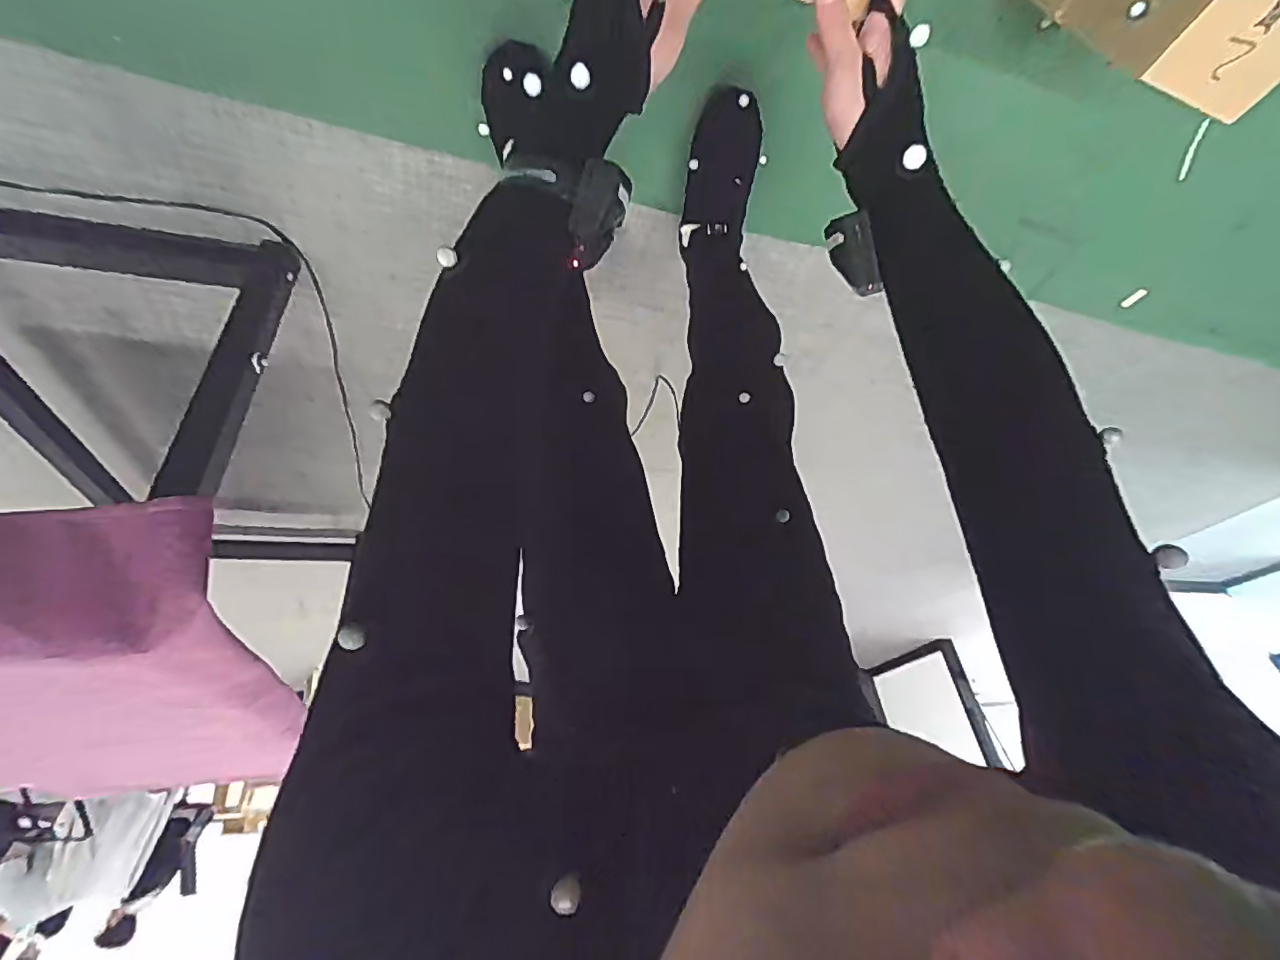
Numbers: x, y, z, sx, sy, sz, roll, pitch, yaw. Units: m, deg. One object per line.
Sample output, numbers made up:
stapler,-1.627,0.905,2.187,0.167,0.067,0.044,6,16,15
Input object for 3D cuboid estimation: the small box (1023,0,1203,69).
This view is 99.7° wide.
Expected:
small box,0.600,-0.663,0.662,0.168,0.176,0.179,7,145,-19
